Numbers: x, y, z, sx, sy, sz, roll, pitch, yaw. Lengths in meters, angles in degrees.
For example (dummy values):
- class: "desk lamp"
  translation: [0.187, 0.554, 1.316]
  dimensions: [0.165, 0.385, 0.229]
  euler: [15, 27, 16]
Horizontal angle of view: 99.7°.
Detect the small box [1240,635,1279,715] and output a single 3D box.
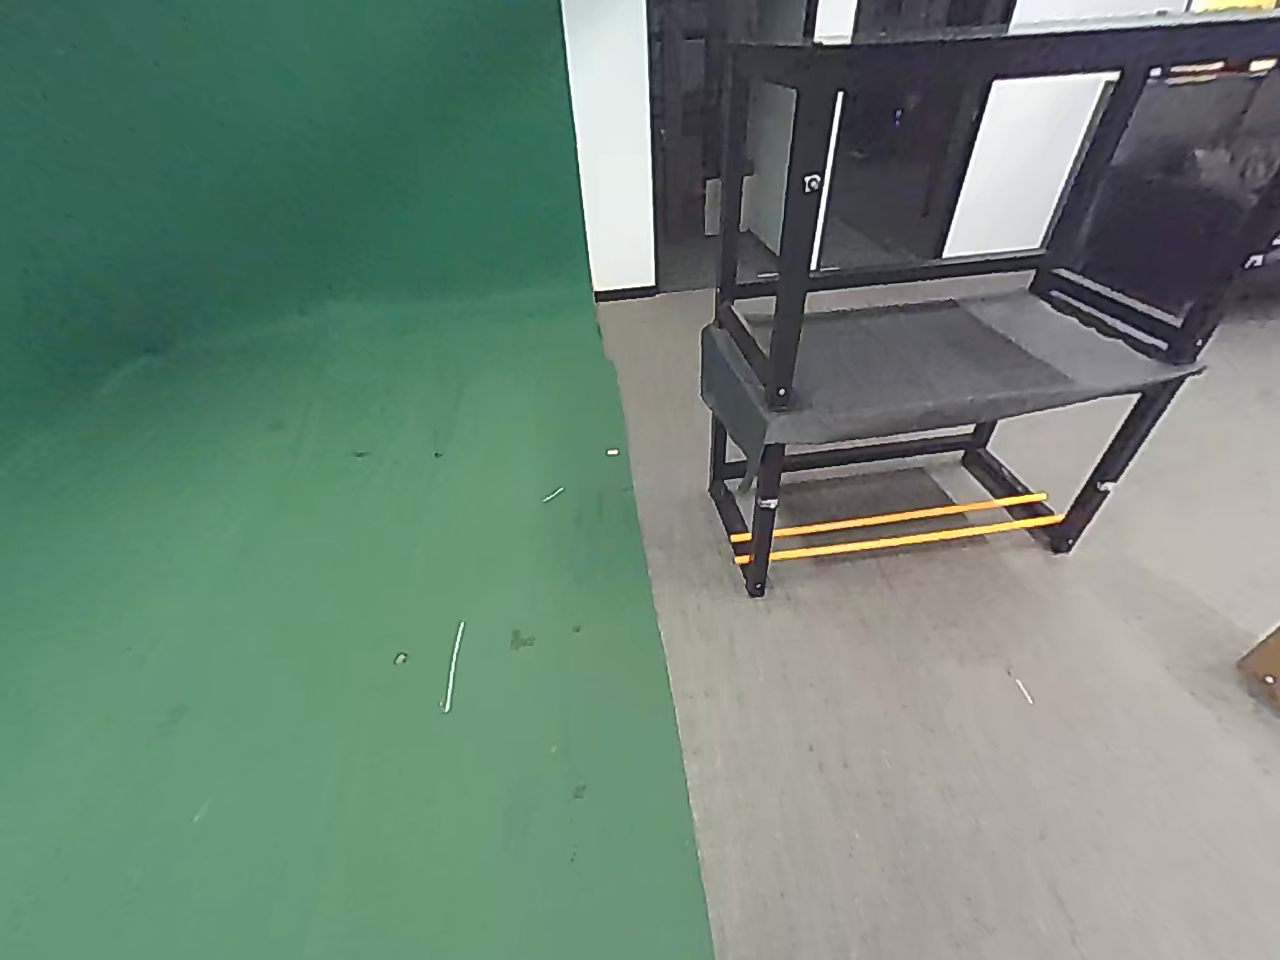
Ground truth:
- class: "small box"
  translation: [1.806, 0.531, 1.447]
  dimensions: [0.179, 0.176, 0.168]
  euler: [-3, 39, 1]
